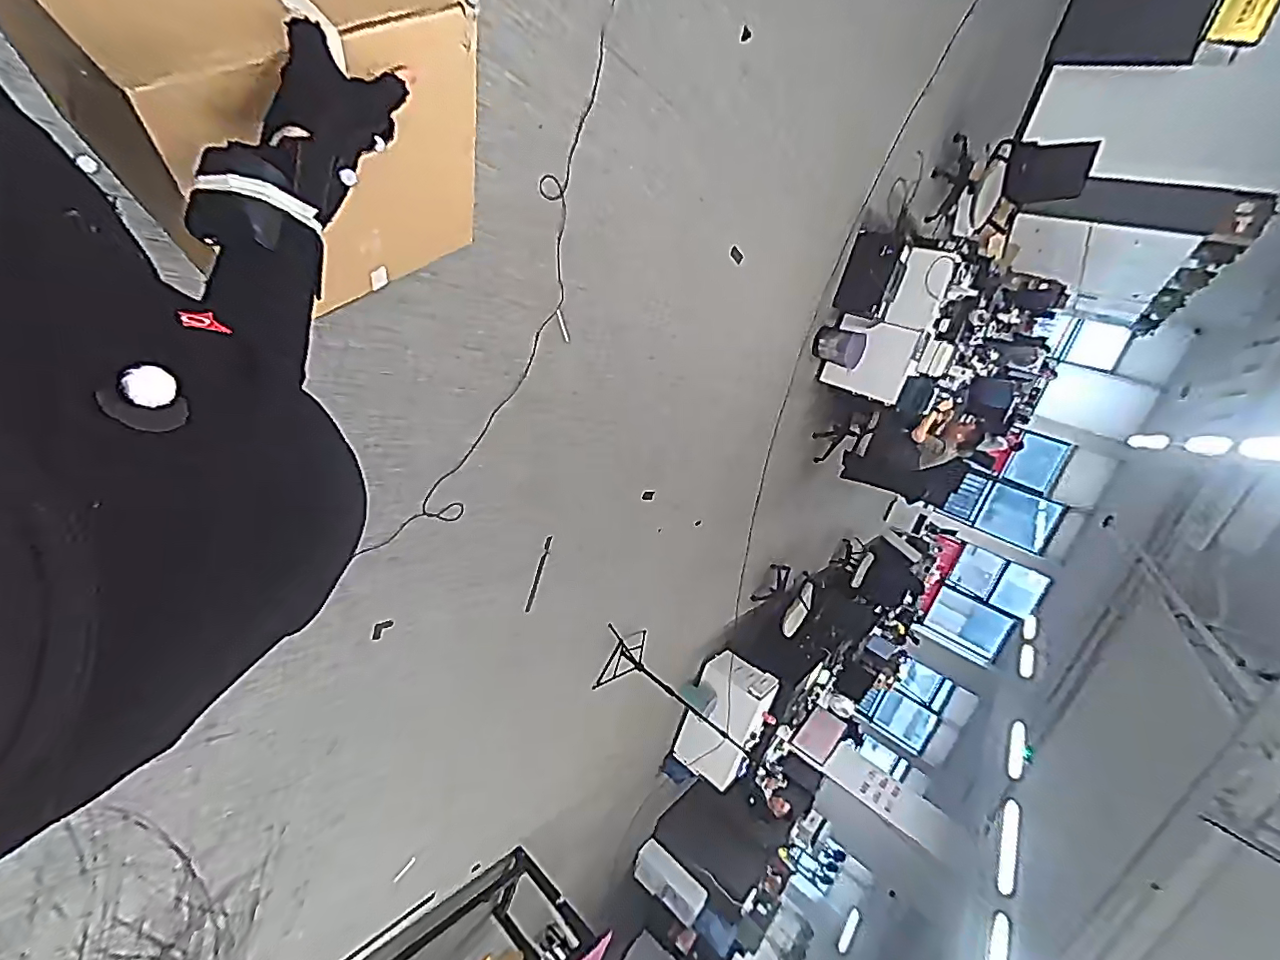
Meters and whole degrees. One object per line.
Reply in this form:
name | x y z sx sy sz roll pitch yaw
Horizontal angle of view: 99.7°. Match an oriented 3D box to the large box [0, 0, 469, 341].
large box | -0.449 -0.446 0.603 0.320 0.408 0.320 -43 178 -25
